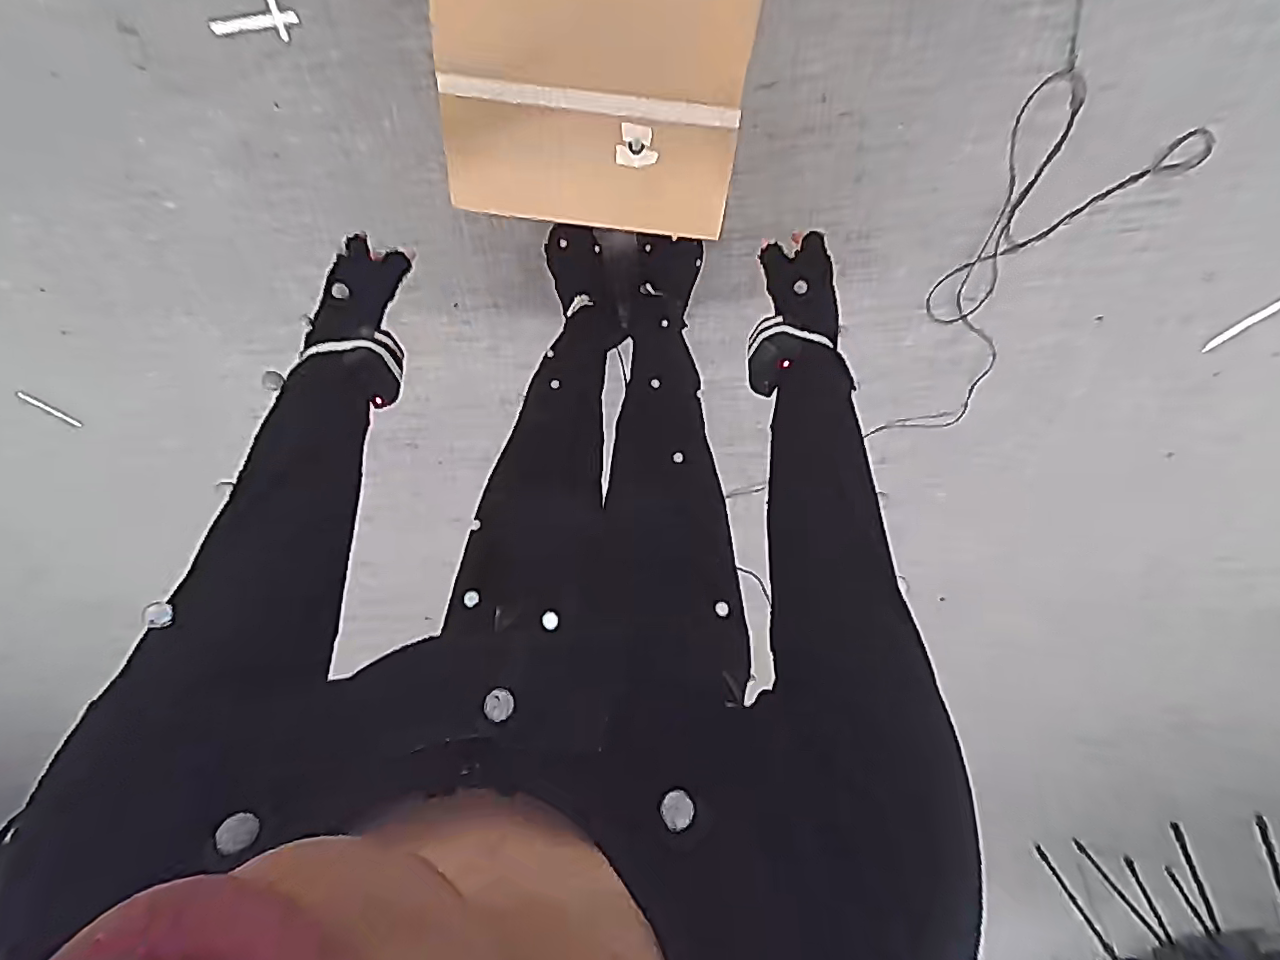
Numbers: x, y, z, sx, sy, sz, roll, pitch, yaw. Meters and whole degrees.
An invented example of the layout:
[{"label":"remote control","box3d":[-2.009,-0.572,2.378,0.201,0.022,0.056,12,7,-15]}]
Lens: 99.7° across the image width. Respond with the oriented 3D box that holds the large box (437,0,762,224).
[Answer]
[{"label":"large box","box3d":[-0.056,-0.608,0.829,0.408,0.320,0.320,5,129,-2]}]
